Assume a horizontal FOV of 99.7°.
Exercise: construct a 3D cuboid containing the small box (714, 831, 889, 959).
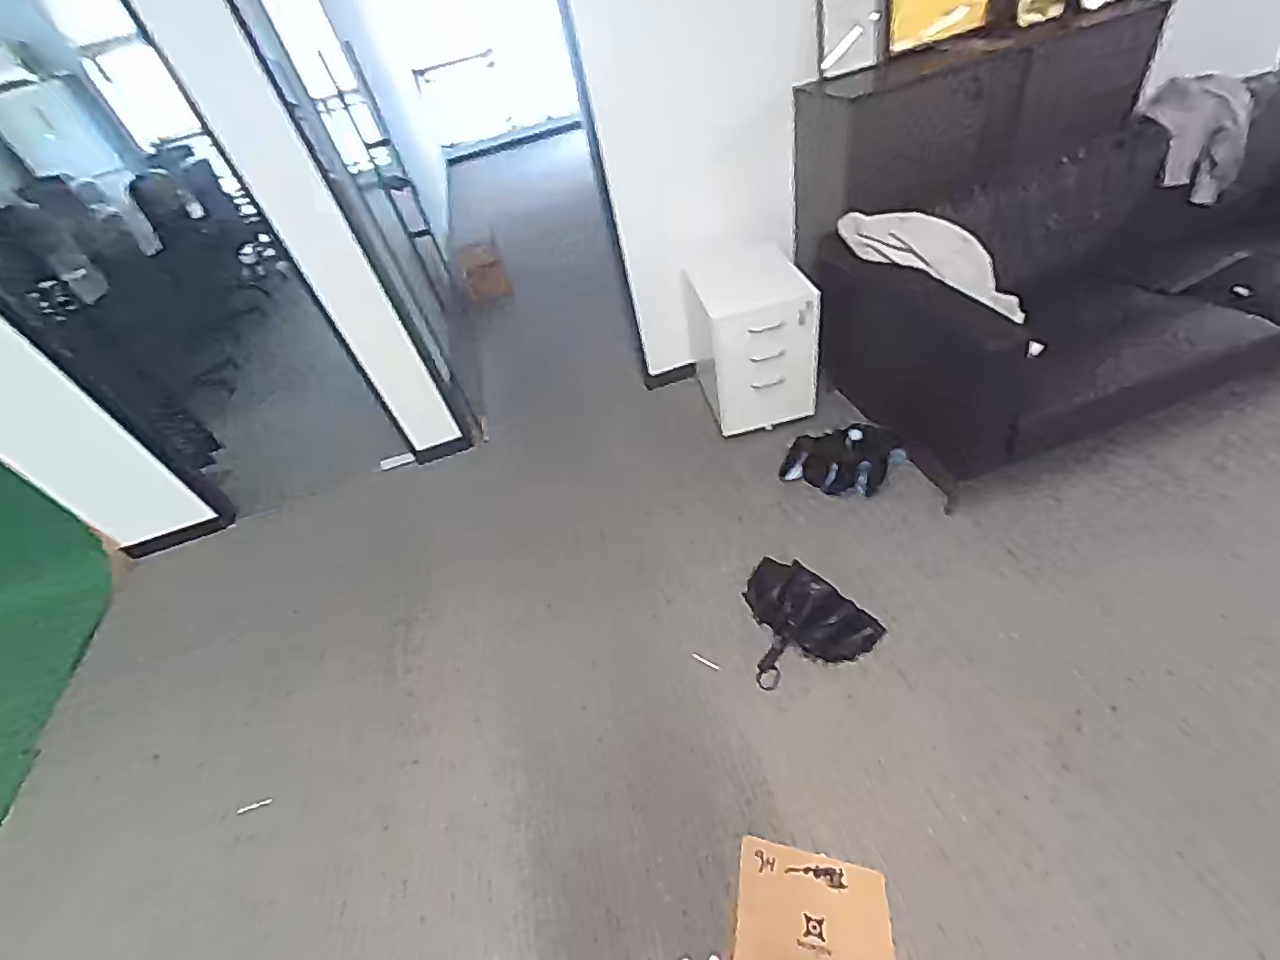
[{"bbox_3d":[0.169,0.543,0.596,0.168,0.176,0.179,9,28,12],"label":"small box"}]
